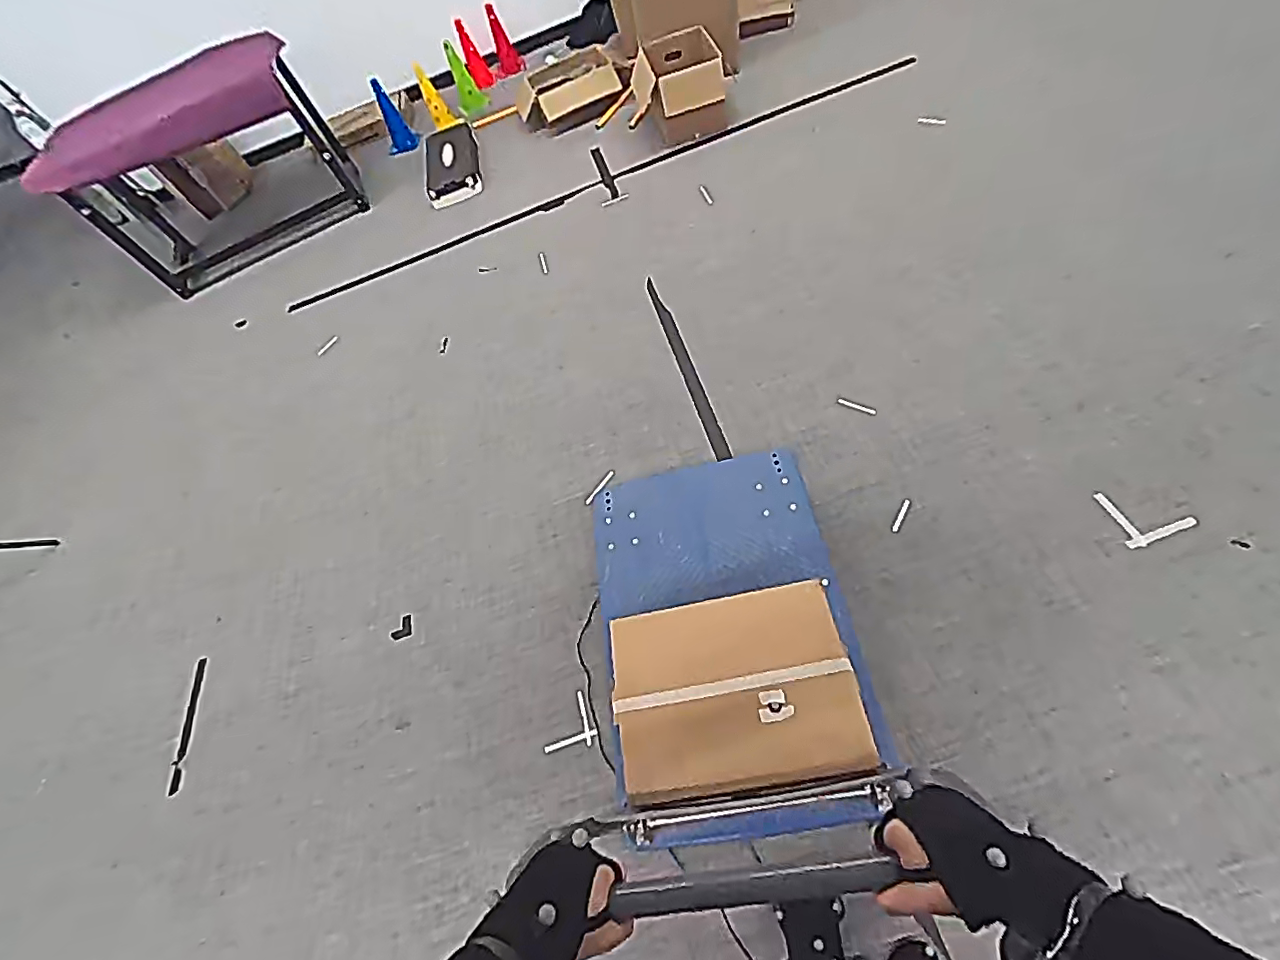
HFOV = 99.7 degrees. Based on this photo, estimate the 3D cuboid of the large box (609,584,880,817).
[{"bbox_3d":[0.184,0.438,1.041,0.408,0.320,0.320,-13,57,6],"label":"large box"}]
